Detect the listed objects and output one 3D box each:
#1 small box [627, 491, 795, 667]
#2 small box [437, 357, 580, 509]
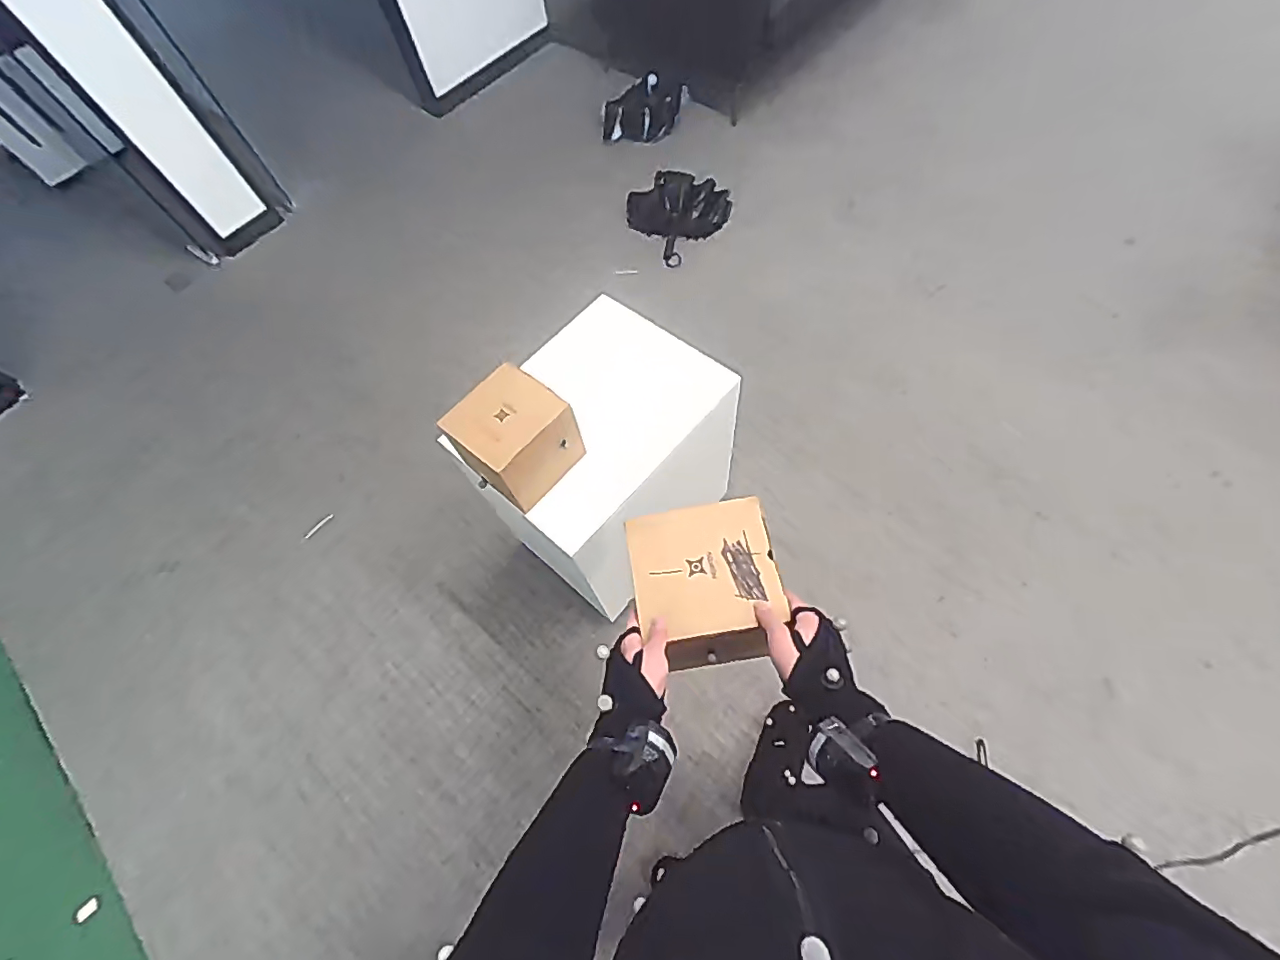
[{"bbox_3d":[0.083,0.135,0.707,0.179,0.176,0.168,-9,58,0],"label":"small box"},{"bbox_3d":[-0.226,-0.082,0.985,0.168,0.176,0.179,35,70,21],"label":"small box"}]
